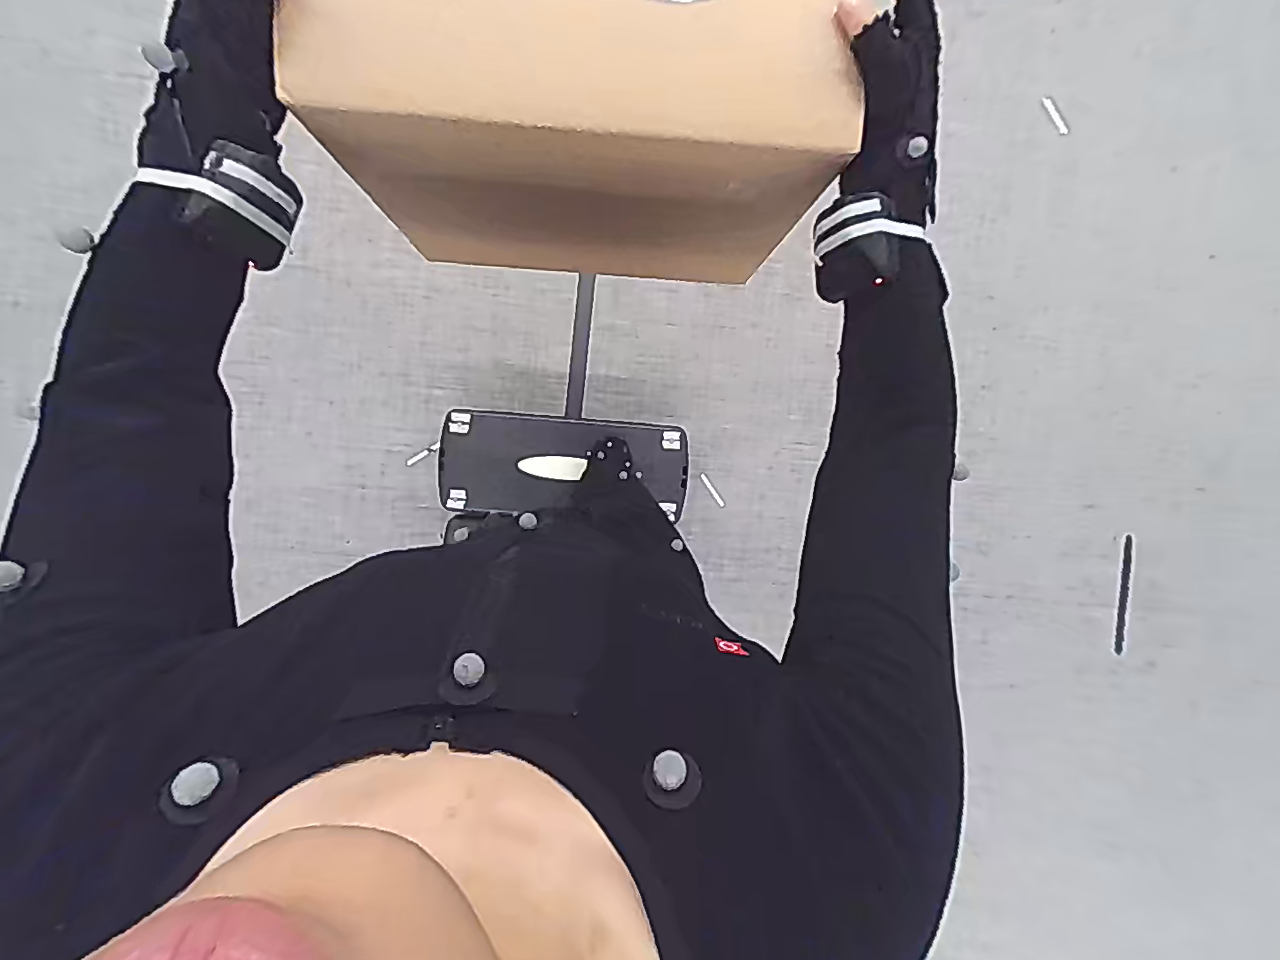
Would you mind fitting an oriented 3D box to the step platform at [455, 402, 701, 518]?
[{"bbox_3d":[-0.169,-0.056,1.543,0.684,0.204,0.286,4,92,-5],"label":"step platform"}]

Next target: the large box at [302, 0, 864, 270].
[{"bbox_3d":[-0.043,-0.418,0.527,0.408,0.320,0.320,2,94,-5],"label":"large box"}]
